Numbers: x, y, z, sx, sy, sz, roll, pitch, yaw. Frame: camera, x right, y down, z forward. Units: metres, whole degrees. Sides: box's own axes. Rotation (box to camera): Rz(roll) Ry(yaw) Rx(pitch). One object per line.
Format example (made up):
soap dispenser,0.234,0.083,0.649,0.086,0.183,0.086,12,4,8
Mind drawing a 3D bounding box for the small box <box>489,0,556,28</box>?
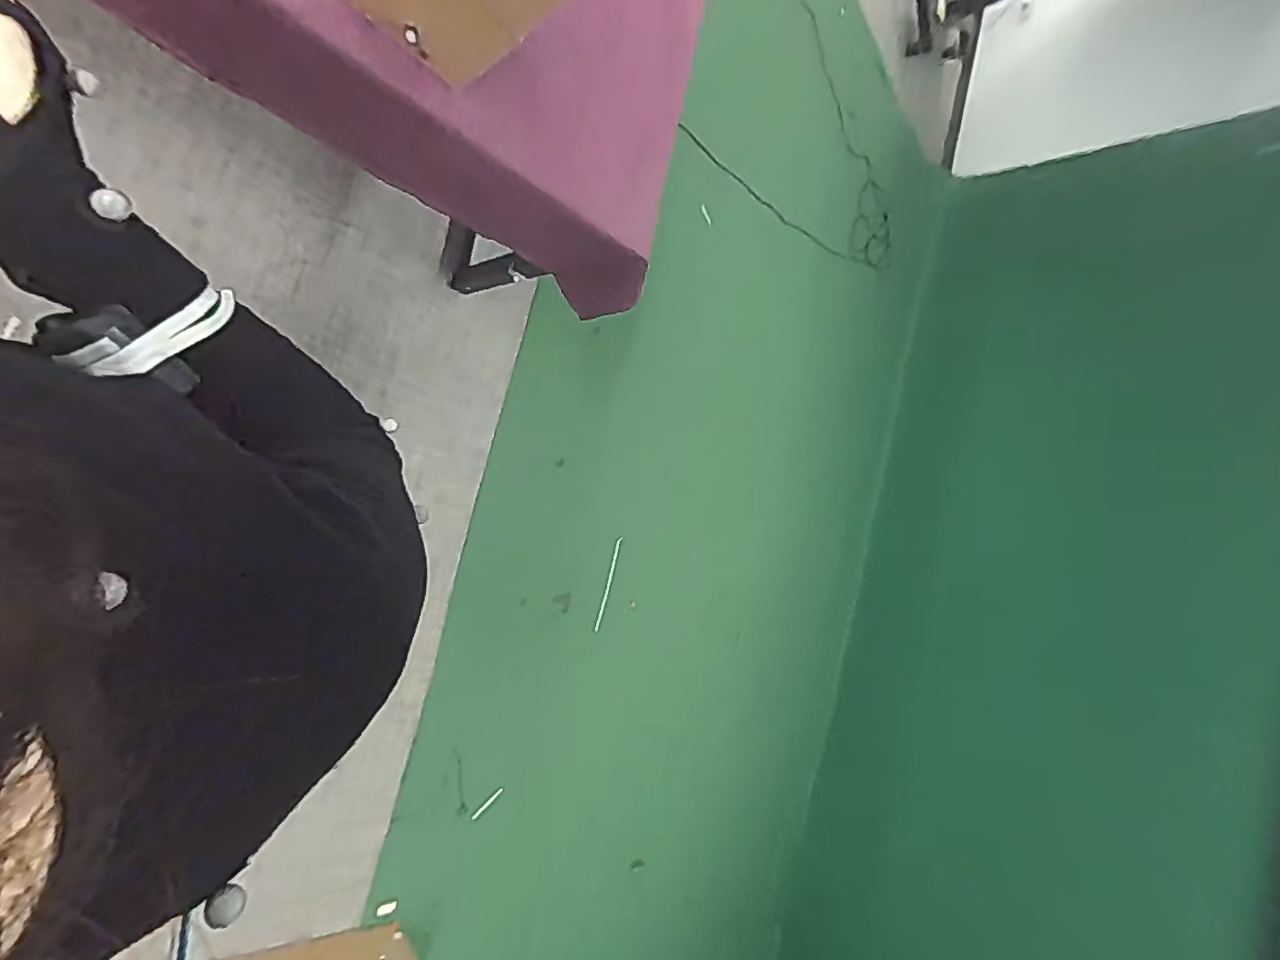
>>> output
small box,-0.118,-0.621,0.542,0.168,0.176,0.179,21,81,-45
